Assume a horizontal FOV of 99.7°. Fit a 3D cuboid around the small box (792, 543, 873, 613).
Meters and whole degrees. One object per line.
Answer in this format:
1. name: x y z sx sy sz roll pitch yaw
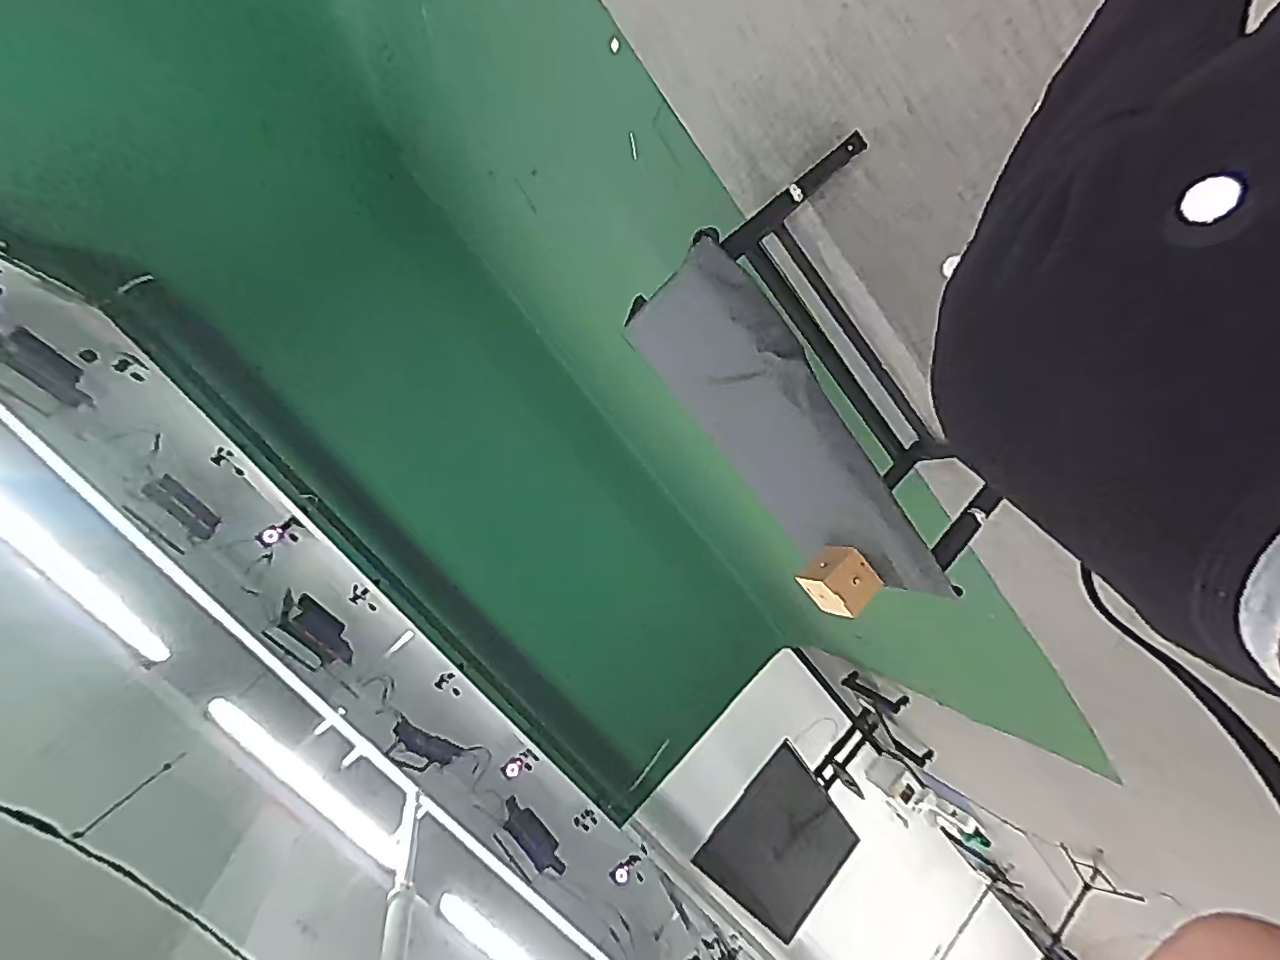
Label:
1. small box: 0.667 0.330 1.855 0.168 0.176 0.179 50 164 -6
